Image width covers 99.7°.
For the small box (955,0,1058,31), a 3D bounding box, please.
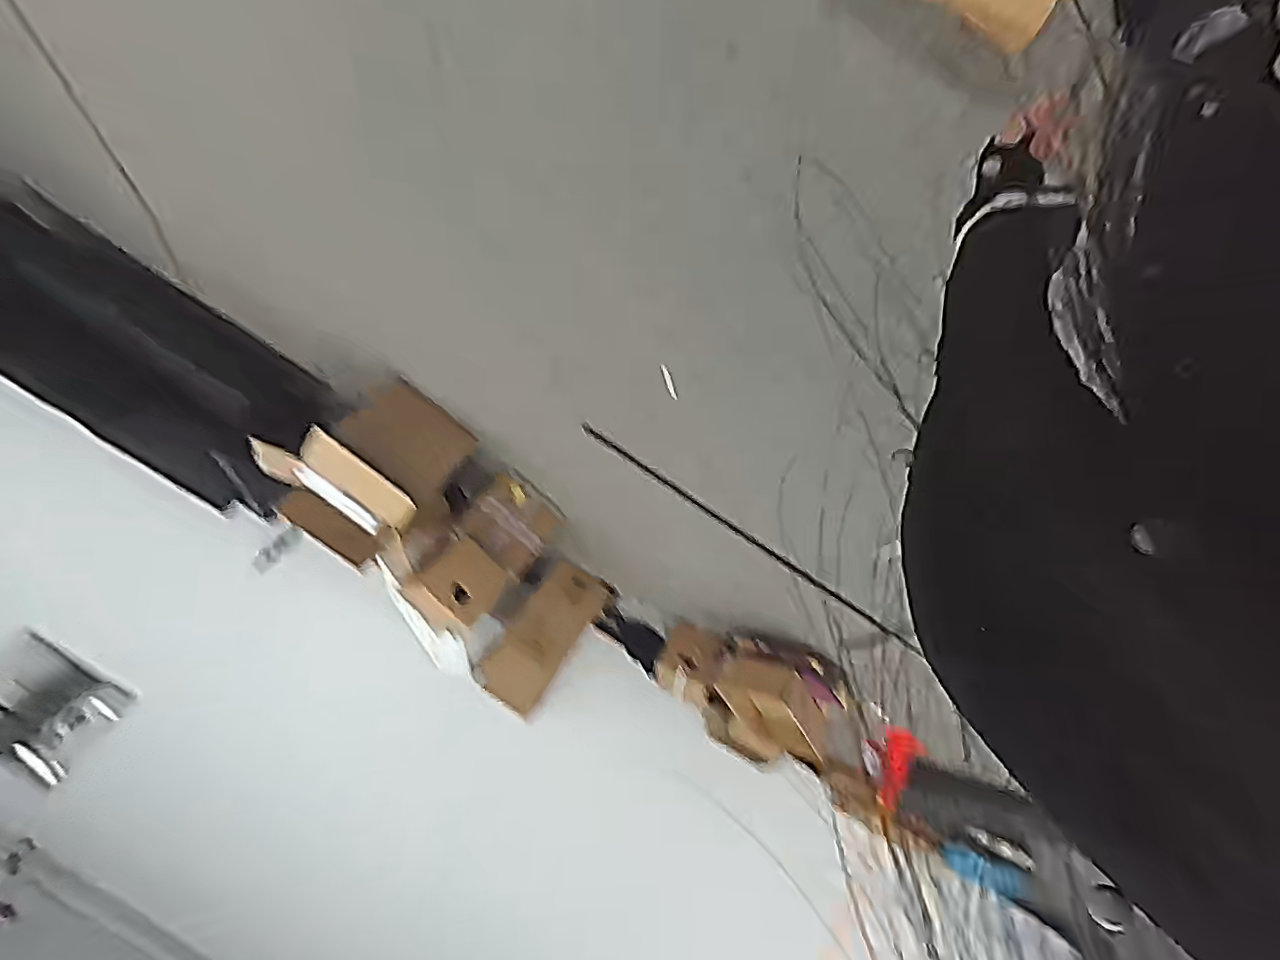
[{"bbox_3d":[0.544,-0.784,0.762,0.179,0.176,0.168,28,147,7],"label":"small box"}]
